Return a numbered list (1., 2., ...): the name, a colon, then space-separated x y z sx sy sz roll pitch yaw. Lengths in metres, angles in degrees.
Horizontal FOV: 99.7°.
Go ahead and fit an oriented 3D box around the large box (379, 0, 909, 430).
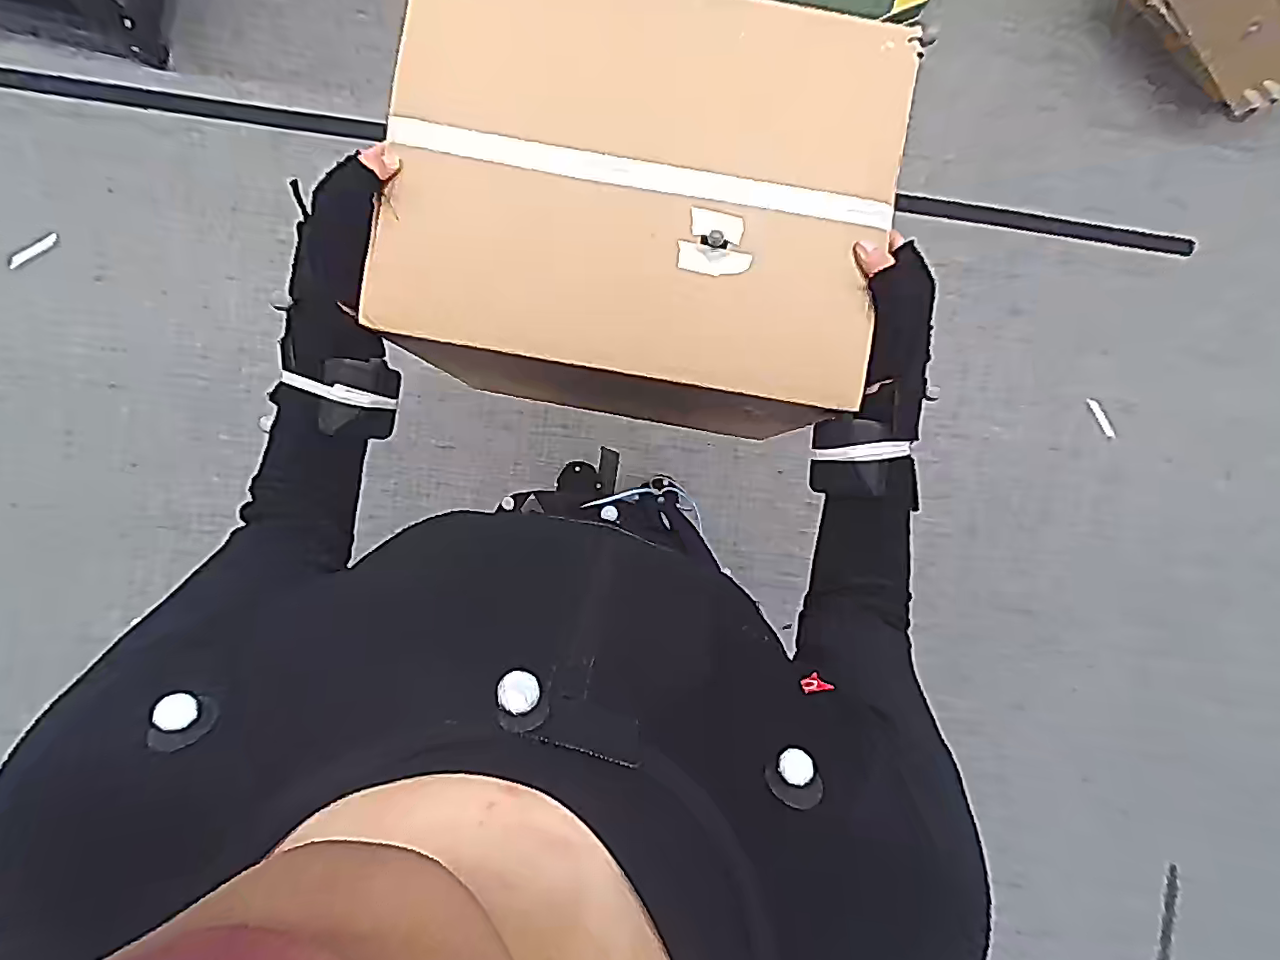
1. large box: 0.000 -0.248 0.591 0.408 0.320 0.320 10 91 -2
